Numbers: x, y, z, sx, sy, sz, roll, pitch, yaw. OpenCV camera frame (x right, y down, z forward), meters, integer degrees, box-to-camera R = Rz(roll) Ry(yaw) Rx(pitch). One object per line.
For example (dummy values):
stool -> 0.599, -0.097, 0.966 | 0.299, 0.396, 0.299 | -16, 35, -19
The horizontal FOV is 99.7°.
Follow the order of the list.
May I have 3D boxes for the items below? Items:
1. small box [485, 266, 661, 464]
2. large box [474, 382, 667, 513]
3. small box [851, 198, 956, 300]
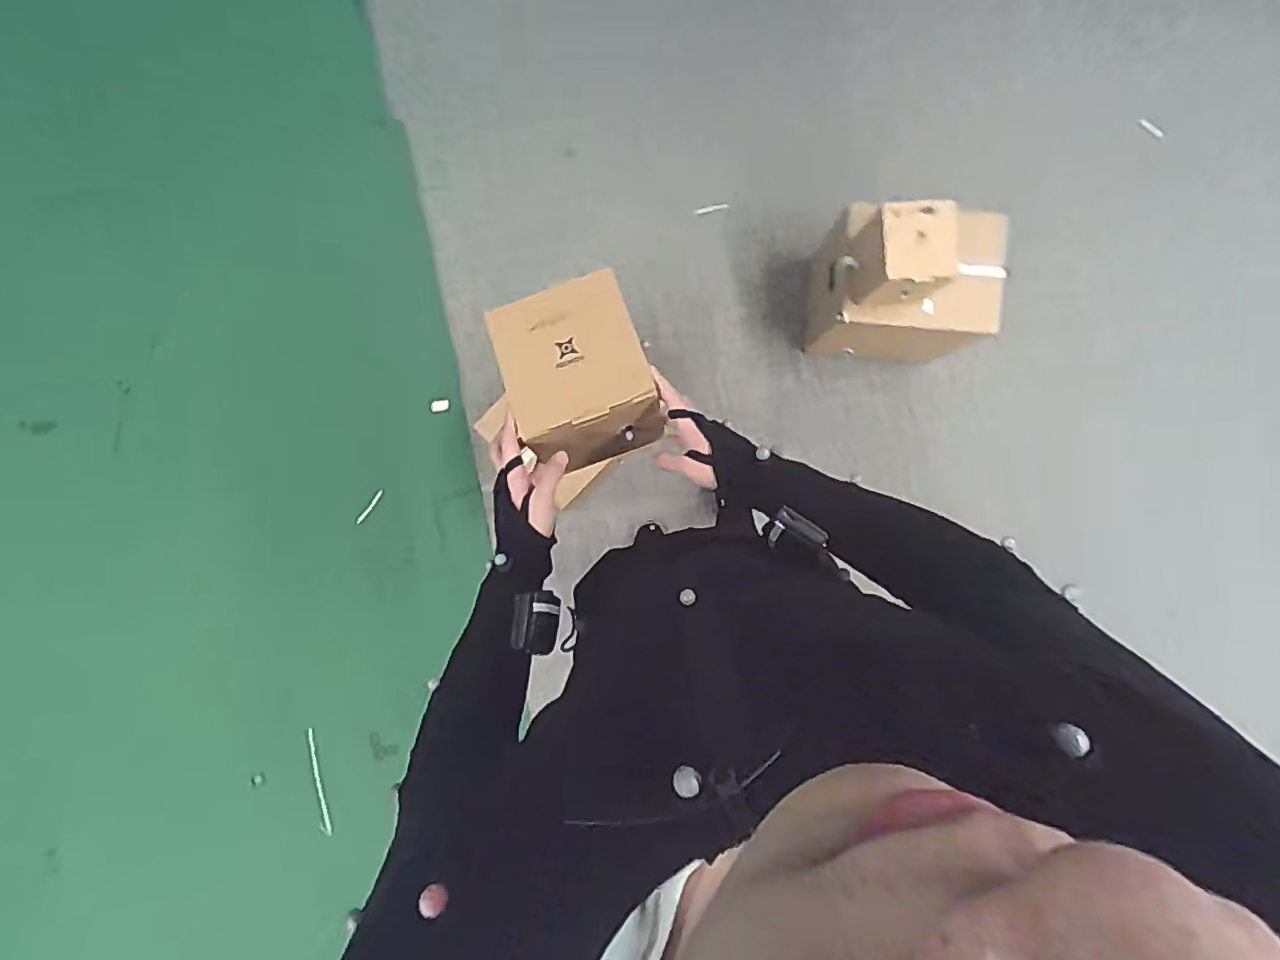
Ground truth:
small box -> -0.075, -0.132, 0.698 | 0.168, 0.176, 0.179 | -19, 75, 0
large box -> -0.172, -0.161, 1.495 | 0.320, 0.320, 0.408 | 43, 89, 3
small box -> 0.612, -0.533, 1.272 | 0.168, 0.176, 0.179 | -3, 89, -1
